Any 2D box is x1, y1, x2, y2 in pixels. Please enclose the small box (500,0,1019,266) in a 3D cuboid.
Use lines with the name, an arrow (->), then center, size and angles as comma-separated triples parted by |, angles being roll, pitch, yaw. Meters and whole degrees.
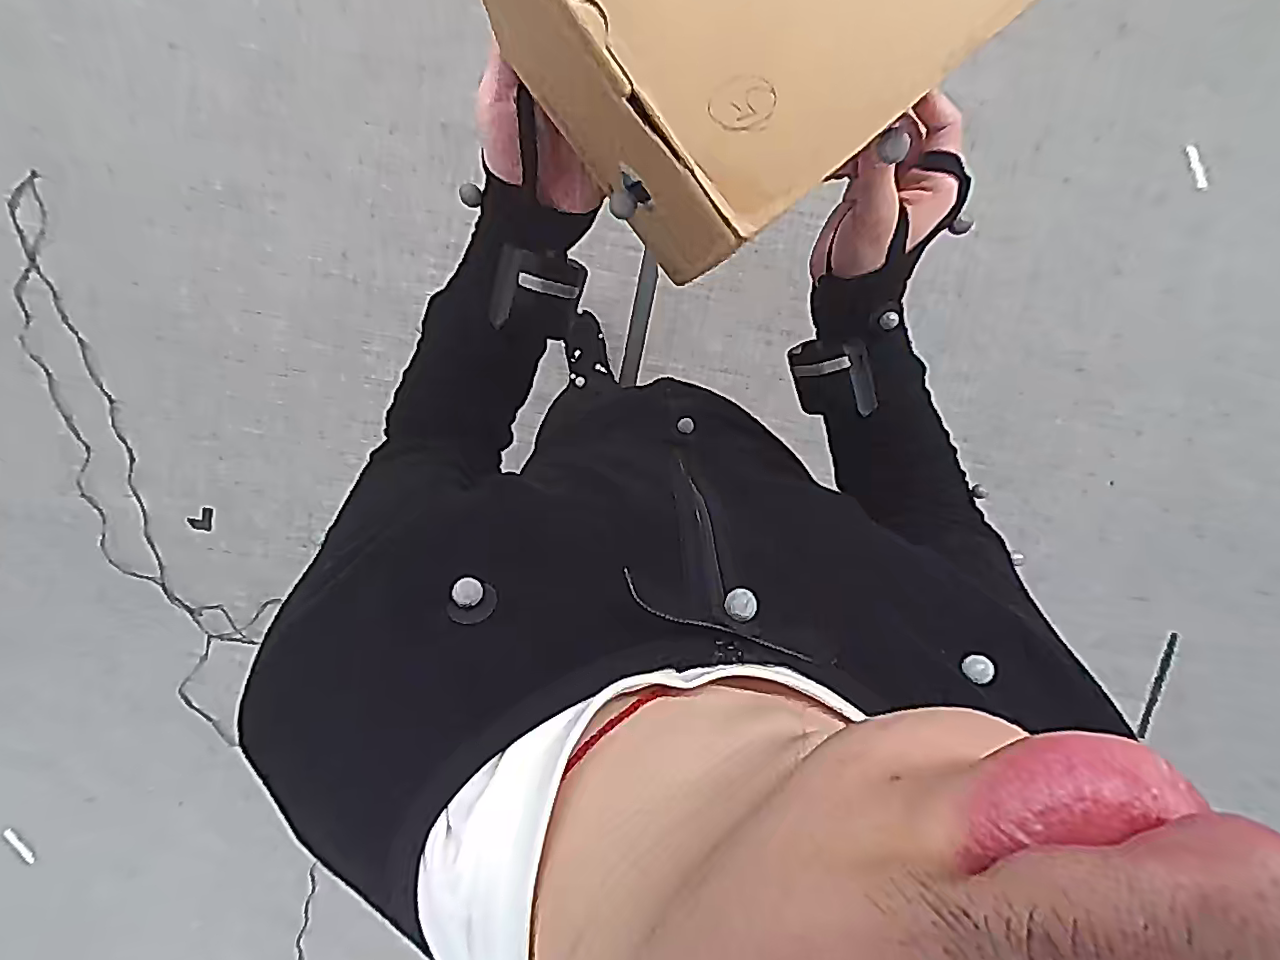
small box -> 0.045, -0.221, 0.242 | 0.179, 0.176, 0.168 | -40, 105, 6
